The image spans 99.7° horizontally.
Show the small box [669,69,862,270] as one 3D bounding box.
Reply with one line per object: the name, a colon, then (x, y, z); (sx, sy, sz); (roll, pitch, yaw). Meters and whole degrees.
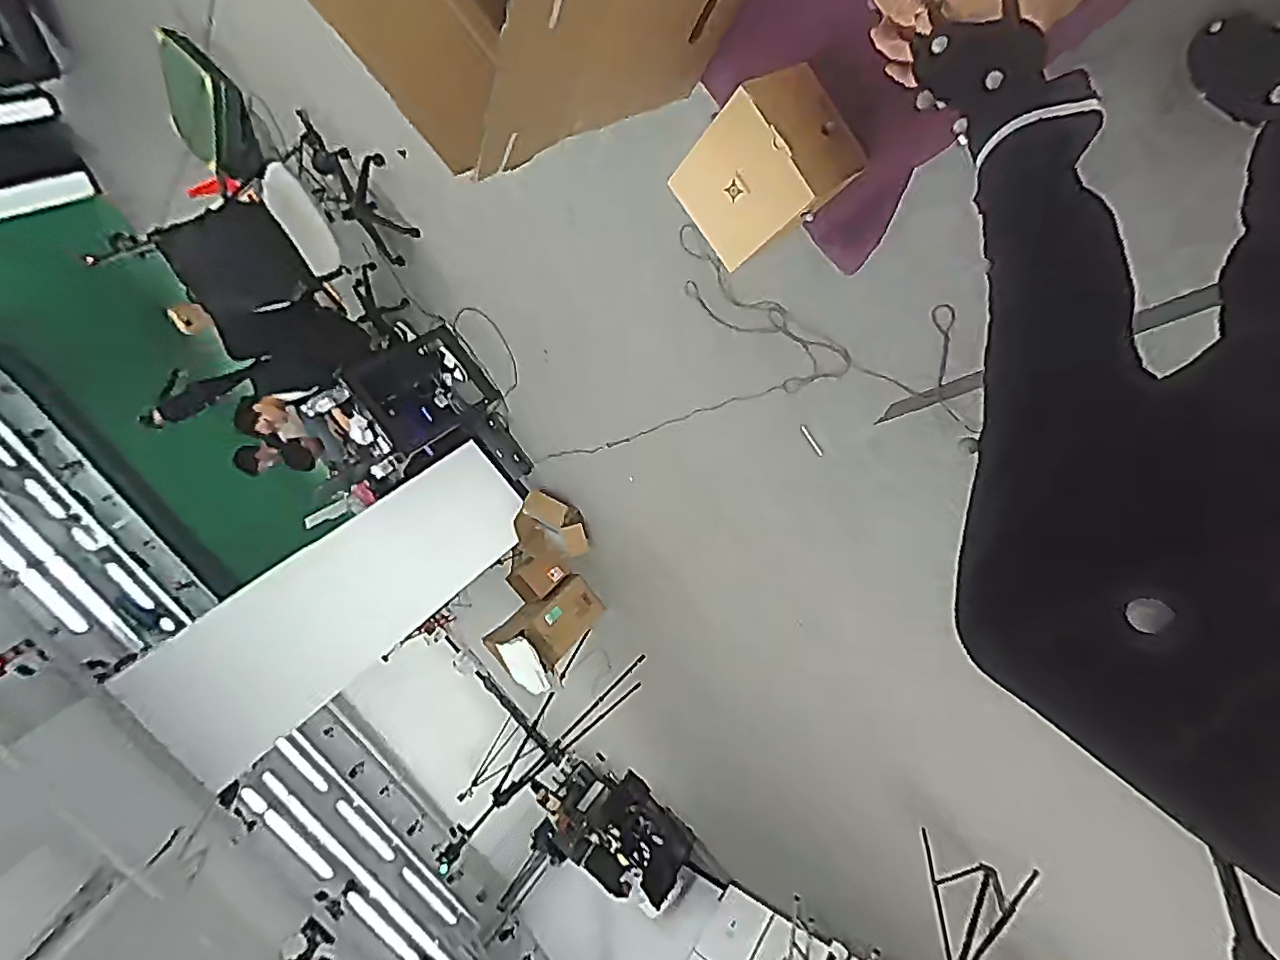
small box: (0.182, -0.445, 0.783); (0.168, 0.176, 0.179); (52, 147, -7)
